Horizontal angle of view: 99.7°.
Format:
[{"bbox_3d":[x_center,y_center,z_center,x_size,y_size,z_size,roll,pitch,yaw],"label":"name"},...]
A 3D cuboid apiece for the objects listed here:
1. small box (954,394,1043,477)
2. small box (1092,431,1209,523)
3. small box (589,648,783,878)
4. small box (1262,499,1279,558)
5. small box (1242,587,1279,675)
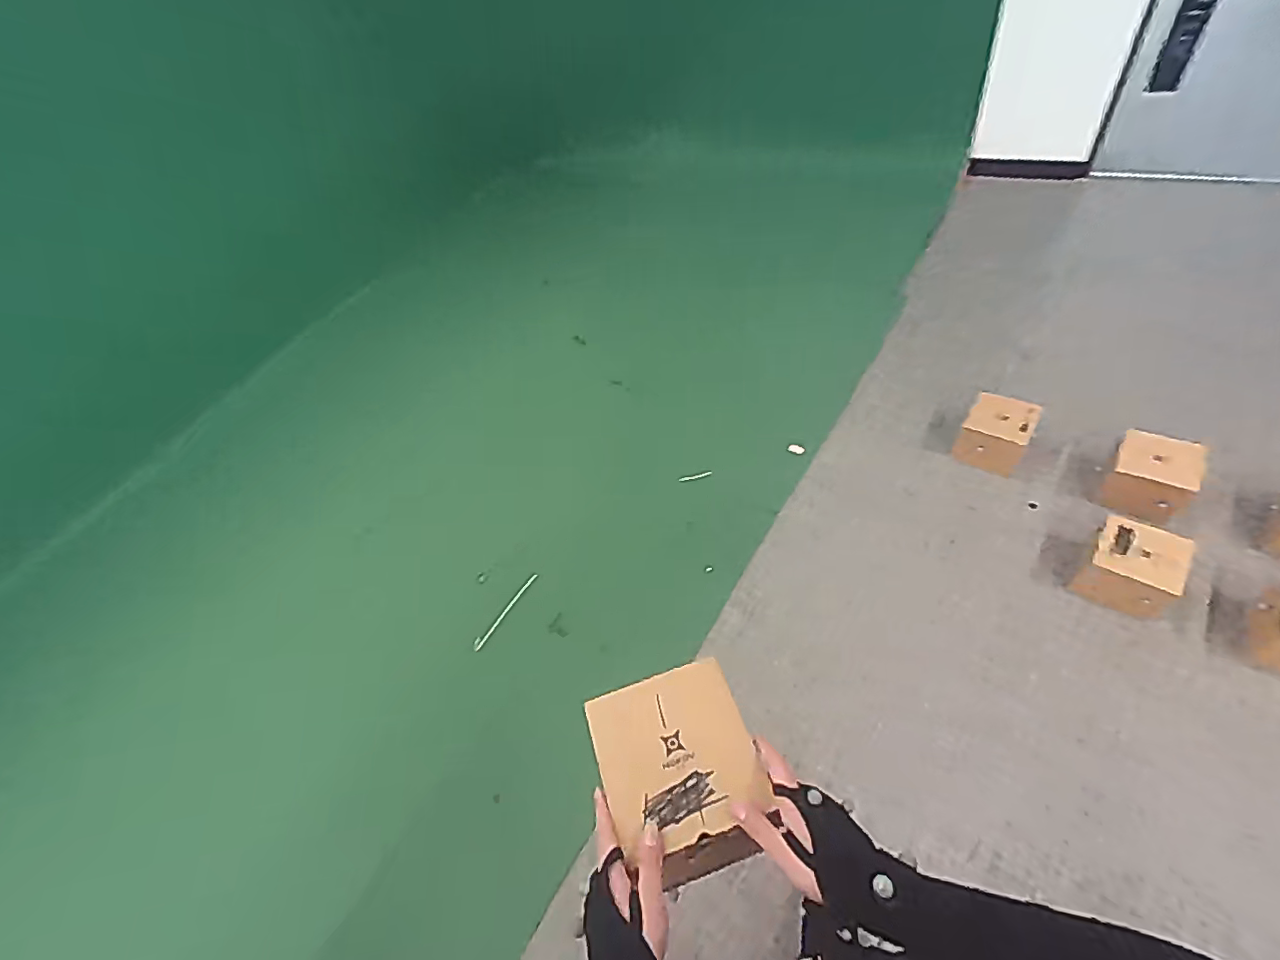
[{"bbox_3d":[1.115,-0.135,1.695,0.179,0.176,0.168,26,66,32],"label":"small box"},{"bbox_3d":[1.413,-0.003,1.505,0.179,0.176,0.168,23,63,30],"label":"small box"},{"bbox_3d":[0.052,0.334,0.630,0.168,0.176,0.179,-17,45,-6],"label":"small box"},{"bbox_3d":[1.702,0.113,1.328,0.179,0.176,0.168,23,64,29],"label":"small box"},{"bbox_3d":[1.519,0.355,1.211,0.179,0.176,0.168,22,64,29],"label":"small box"}]
